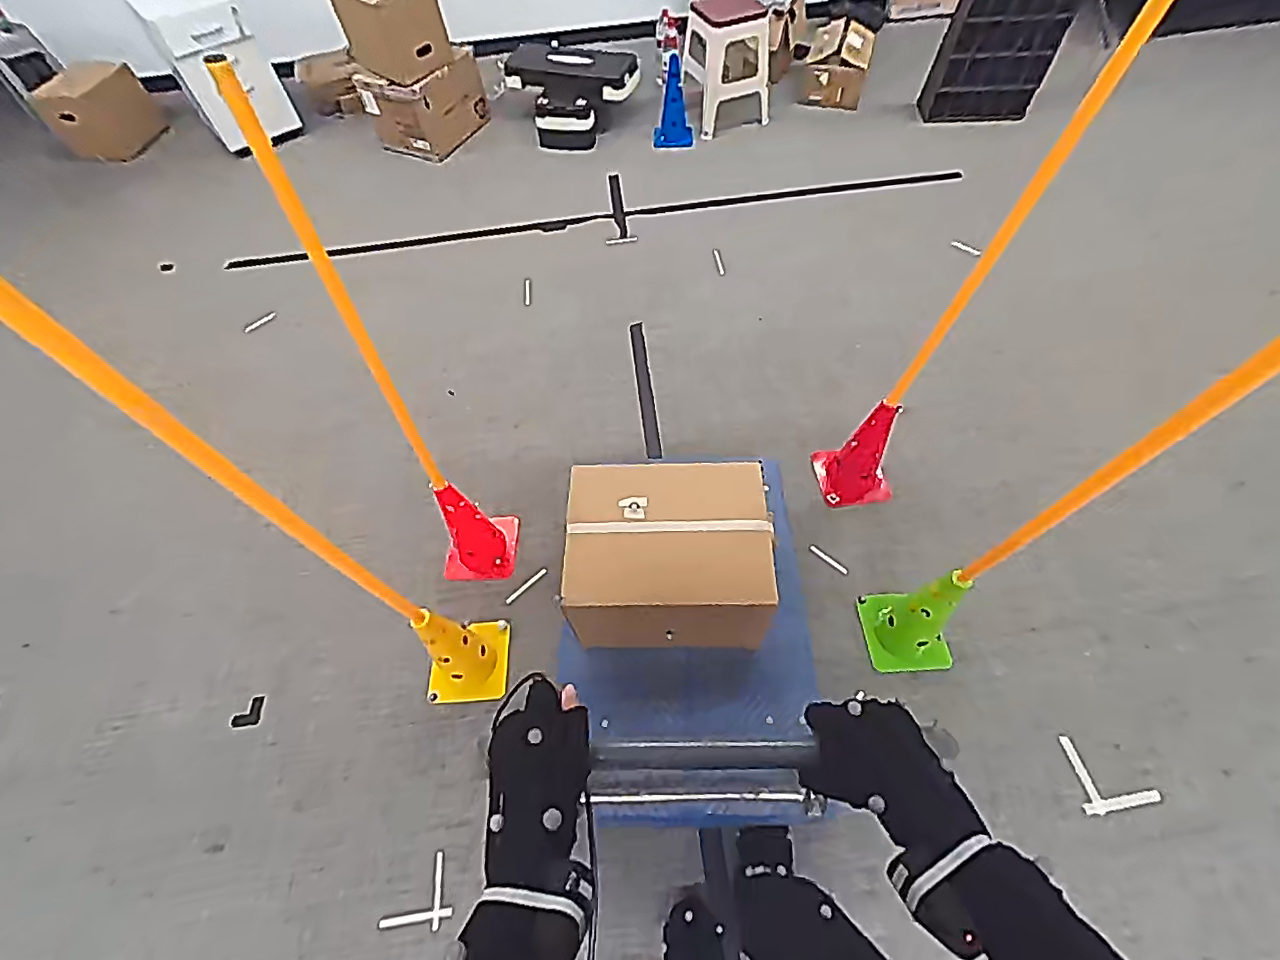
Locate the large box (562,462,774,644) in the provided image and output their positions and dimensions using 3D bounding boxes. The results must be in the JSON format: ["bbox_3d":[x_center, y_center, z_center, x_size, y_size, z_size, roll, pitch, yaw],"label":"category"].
[{"bbox_3d":[0.059,0.175,1.207,0.408,0.320,0.320,-2,58,3],"label":"large box"}]

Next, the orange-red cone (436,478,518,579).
[{"bbox_3d":[-0.473,0.103,1.455,0.198,0.360,0.199,-1,57,2],"label":"orange-red cone"}]

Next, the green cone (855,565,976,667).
[{"bbox_3d":[0.676,0.292,1.269,0.202,0.368,0.200,-4,58,0],"label":"green cone"}]

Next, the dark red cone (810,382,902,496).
[{"bbox_3d":[0.636,-0.126,1.512,0.201,0.394,0.202,-6,58,-3],"label":"dark red cone"}]
